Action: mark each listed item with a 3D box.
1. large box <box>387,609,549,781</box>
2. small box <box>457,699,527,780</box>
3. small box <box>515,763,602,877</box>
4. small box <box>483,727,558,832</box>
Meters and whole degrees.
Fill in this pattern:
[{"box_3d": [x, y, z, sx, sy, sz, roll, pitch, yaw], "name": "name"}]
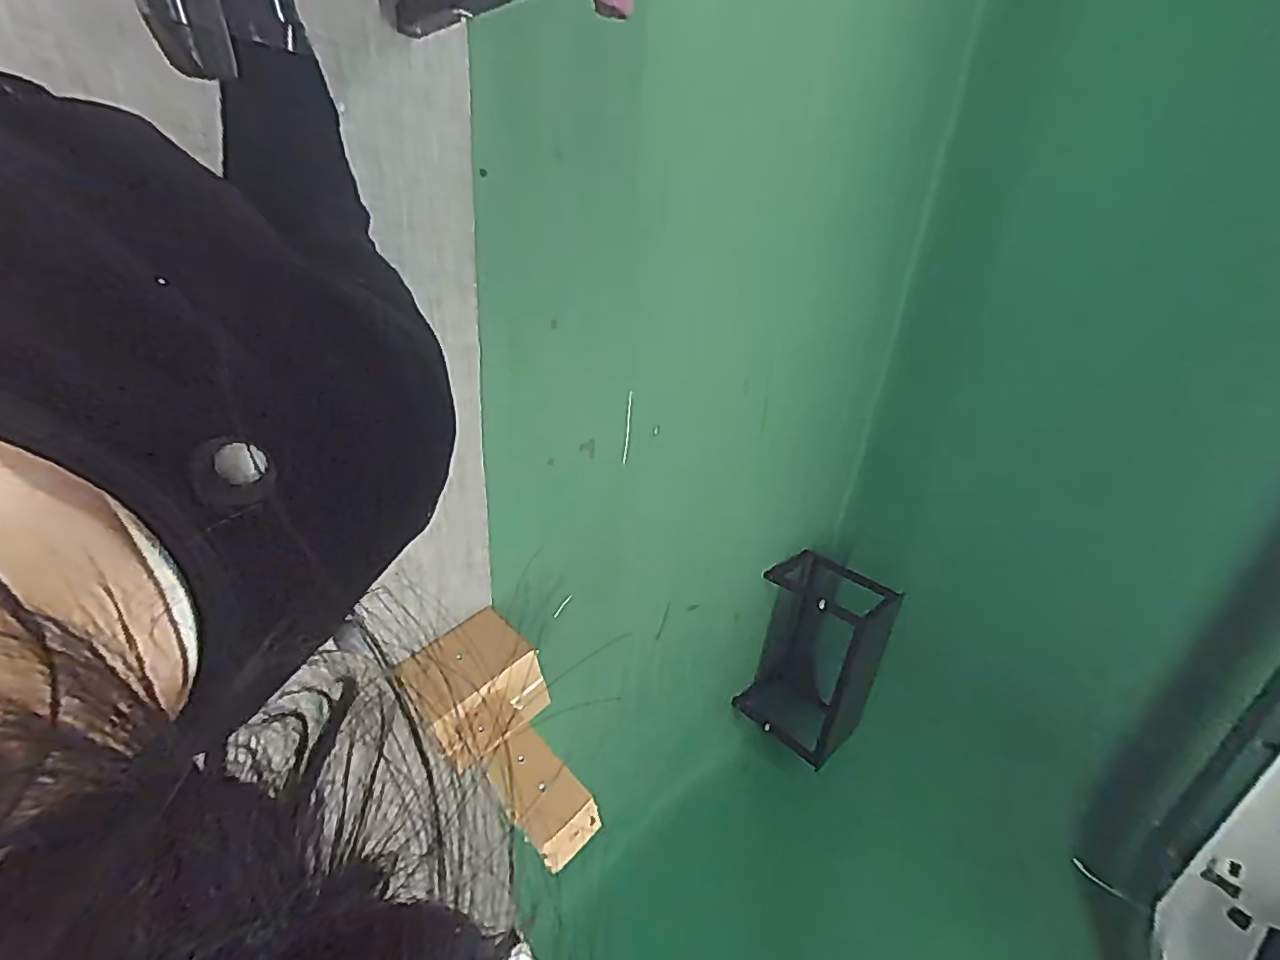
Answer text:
[{"box_3d": [-0.599, 0.742, 1.914, 0.408, 0.320, 0.320, -33, 133, -34], "name": "large box"}, {"box_3d": [-0.461, 0.834, 1.729, 0.168, 0.176, 0.179, -31, 131, -33], "name": "small box"}, {"box_3d": [-0.234, 0.951, 1.523, 0.179, 0.176, 0.168, -31, 130, -32], "name": "small box"}, {"box_3d": [-0.350, 0.894, 1.625, 0.179, 0.176, 0.168, -33, 131, -32], "name": "small box"}]
